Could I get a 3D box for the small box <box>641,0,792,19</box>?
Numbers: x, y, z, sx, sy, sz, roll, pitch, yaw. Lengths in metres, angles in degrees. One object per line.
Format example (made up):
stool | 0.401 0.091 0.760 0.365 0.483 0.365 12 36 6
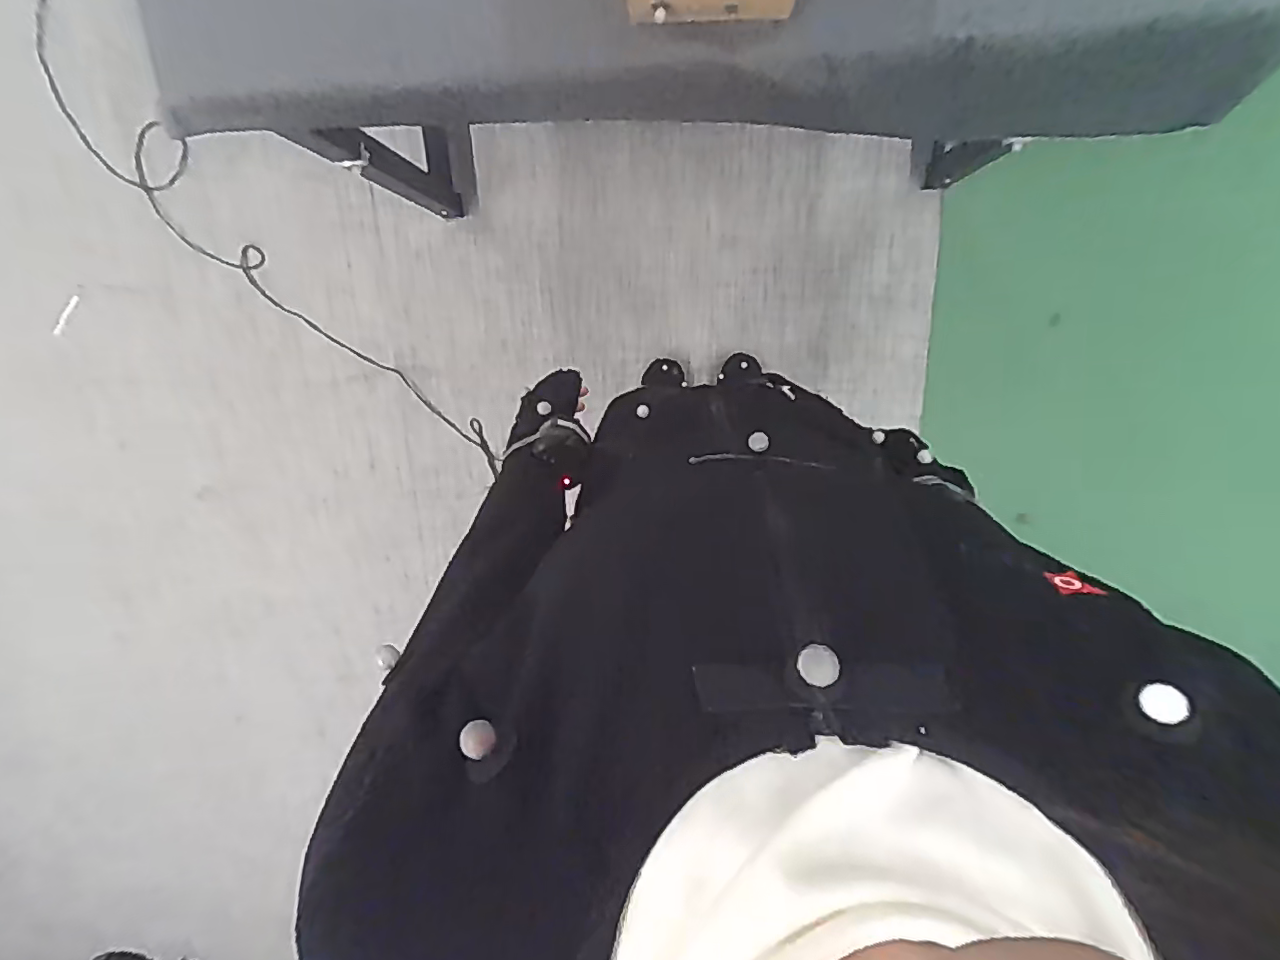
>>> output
small box | 0.072 -0.548 0.473 0.168 0.176 0.179 2 103 3
